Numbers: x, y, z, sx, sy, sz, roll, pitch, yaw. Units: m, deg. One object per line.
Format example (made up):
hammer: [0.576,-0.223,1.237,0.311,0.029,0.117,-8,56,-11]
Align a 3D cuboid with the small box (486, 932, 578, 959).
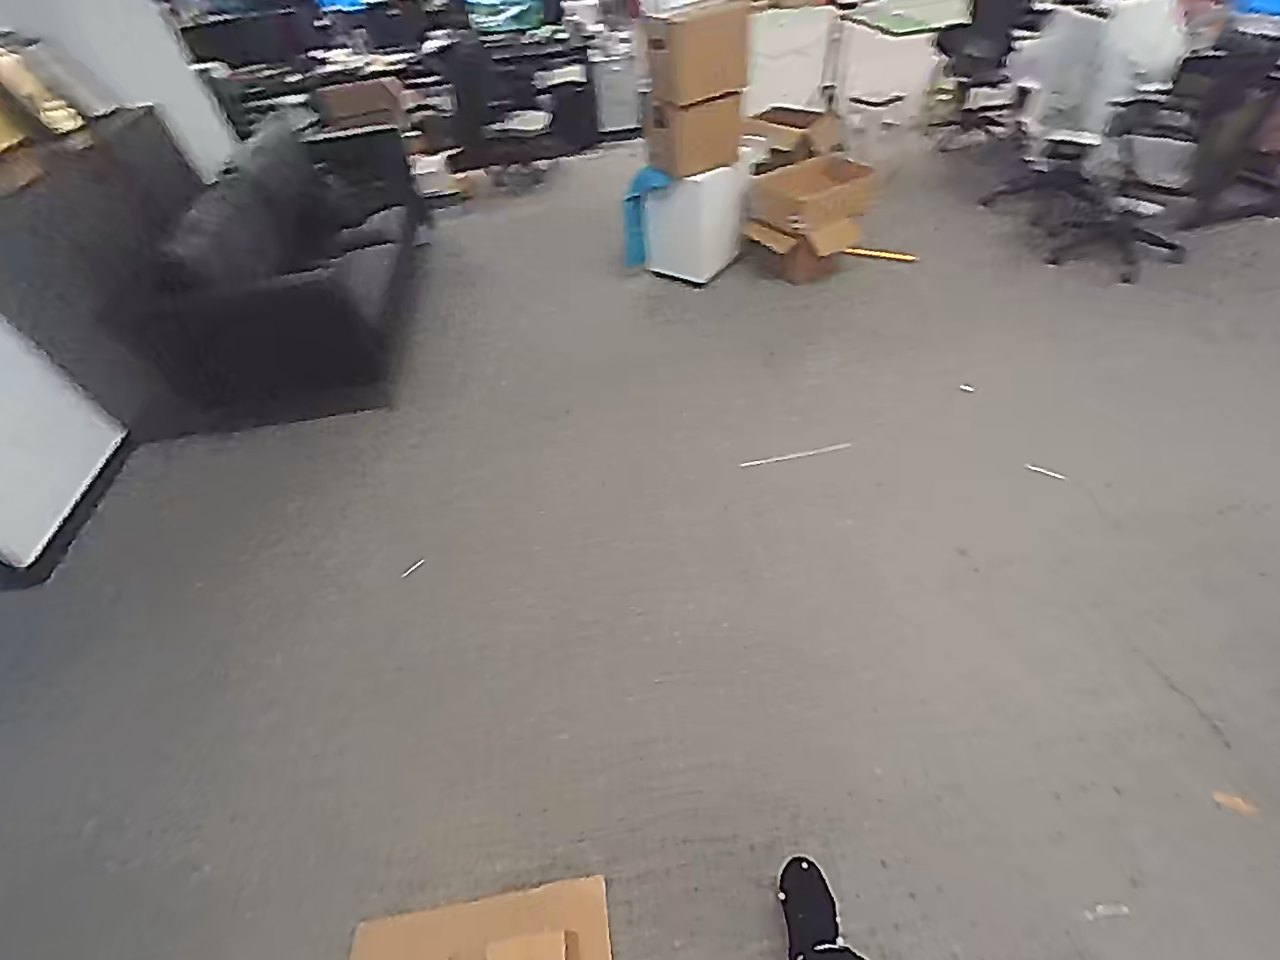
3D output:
small box: [-0.221,1.071,1.130,0.168,0.176,0.179,-9,48,-2]
